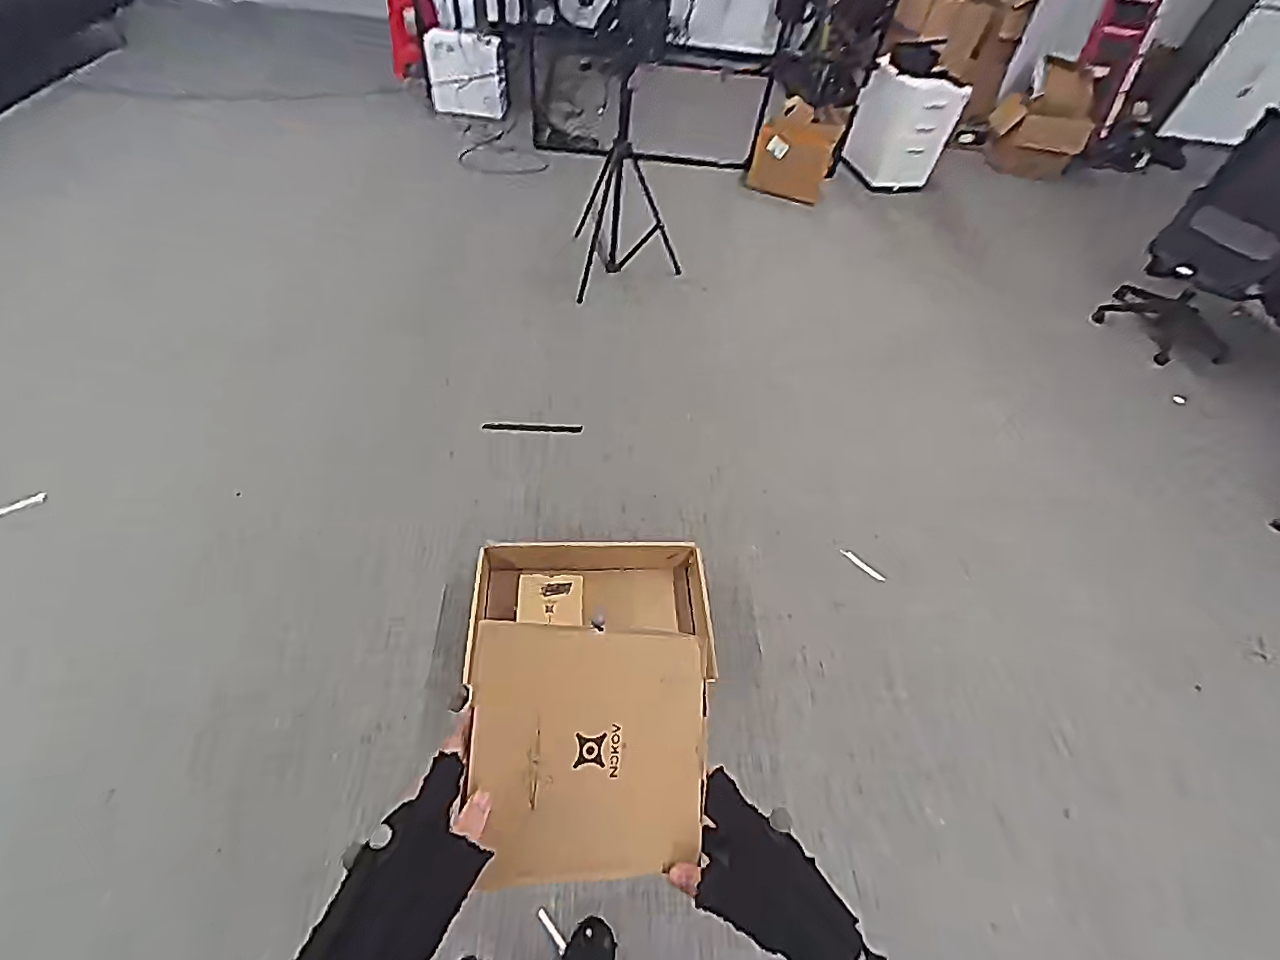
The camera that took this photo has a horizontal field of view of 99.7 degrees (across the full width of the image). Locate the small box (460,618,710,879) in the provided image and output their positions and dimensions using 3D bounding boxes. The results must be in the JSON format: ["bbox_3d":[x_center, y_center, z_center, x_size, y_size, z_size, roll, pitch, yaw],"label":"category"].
[{"bbox_3d":[-0.054,0.208,0.468,0.179,0.176,0.168,7,74,-17],"label":"small box"}]

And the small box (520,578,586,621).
[{"bbox_3d":[-0.231,0.378,1.433,0.168,0.176,0.179,2,53,-7],"label":"small box"}]
